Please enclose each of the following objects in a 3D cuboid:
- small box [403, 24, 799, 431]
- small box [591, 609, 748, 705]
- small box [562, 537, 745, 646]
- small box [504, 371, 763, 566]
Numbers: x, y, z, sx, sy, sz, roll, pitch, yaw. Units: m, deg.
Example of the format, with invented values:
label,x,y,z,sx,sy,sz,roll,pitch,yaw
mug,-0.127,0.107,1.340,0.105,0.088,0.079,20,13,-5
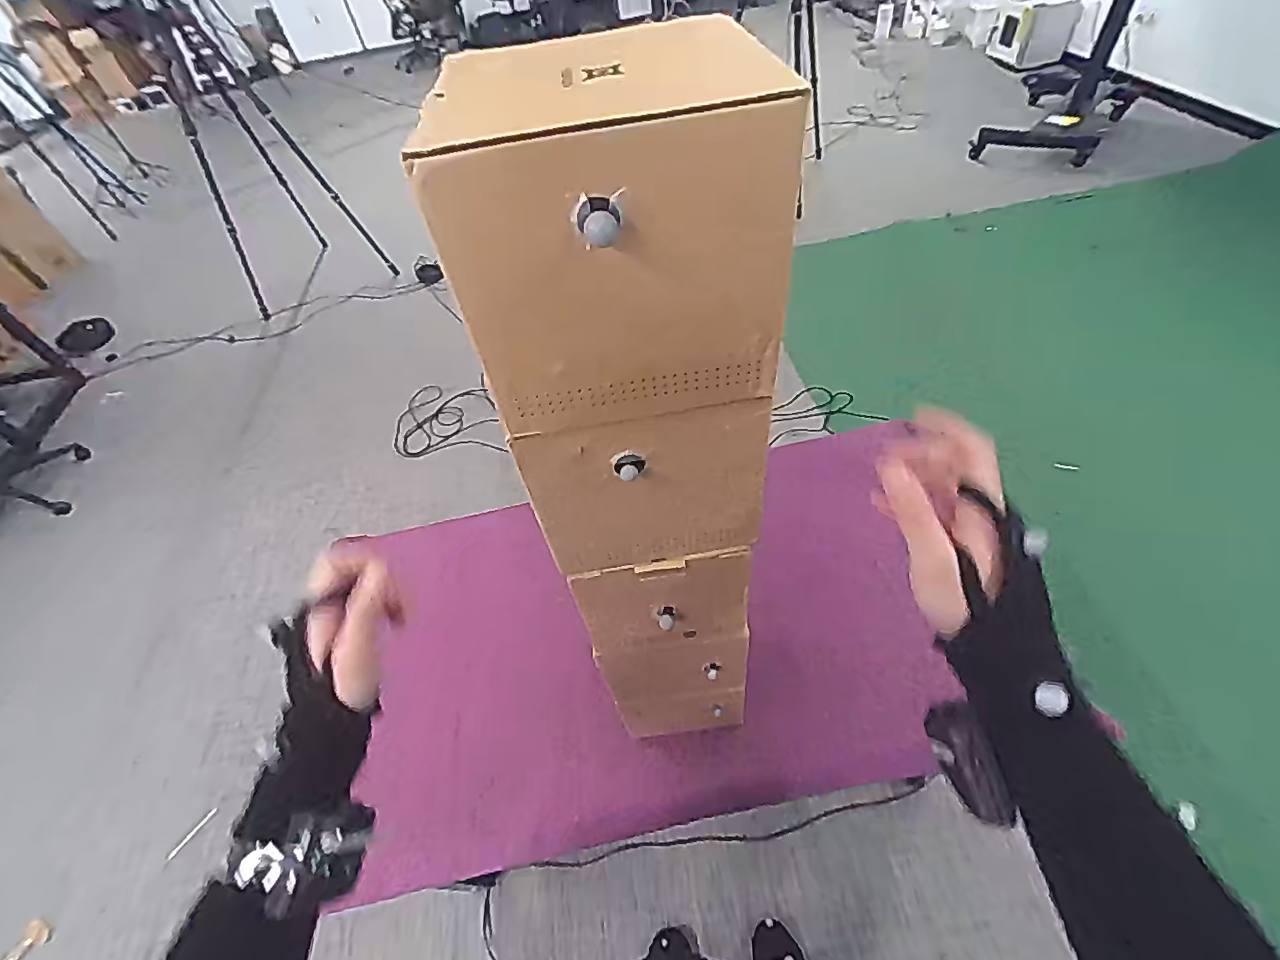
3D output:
label,x,y,z,sx,sy,sz,roll,pitch,yaw
small box,-0.016,-0.153,0.343,0.179,0.176,0.168,-10,48,1
small box,0.035,0.176,0.703,0.179,0.176,0.168,-8,49,2
small box,0.015,0.066,0.584,0.168,0.176,0.179,-8,49,1
small box,-0.003,-0.044,0.462,0.179,0.176,0.168,-9,48,0
